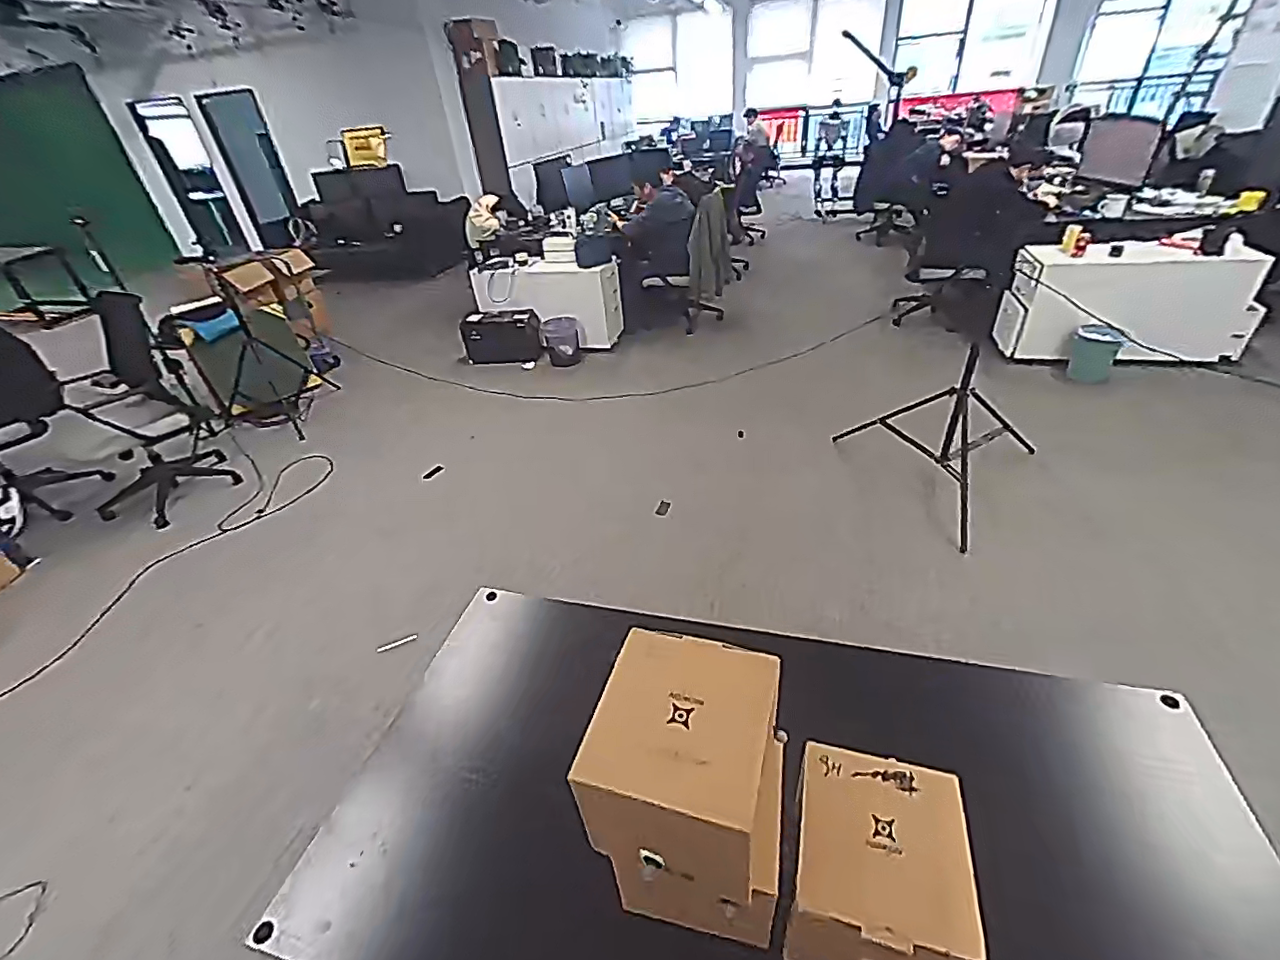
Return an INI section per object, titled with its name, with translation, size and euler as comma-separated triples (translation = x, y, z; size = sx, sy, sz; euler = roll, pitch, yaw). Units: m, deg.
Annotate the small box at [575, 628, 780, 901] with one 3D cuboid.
[small box]
translation = 0.050, 0.290, 0.567
size = 0.168, 0.176, 0.179
euler = 5, 37, 18
